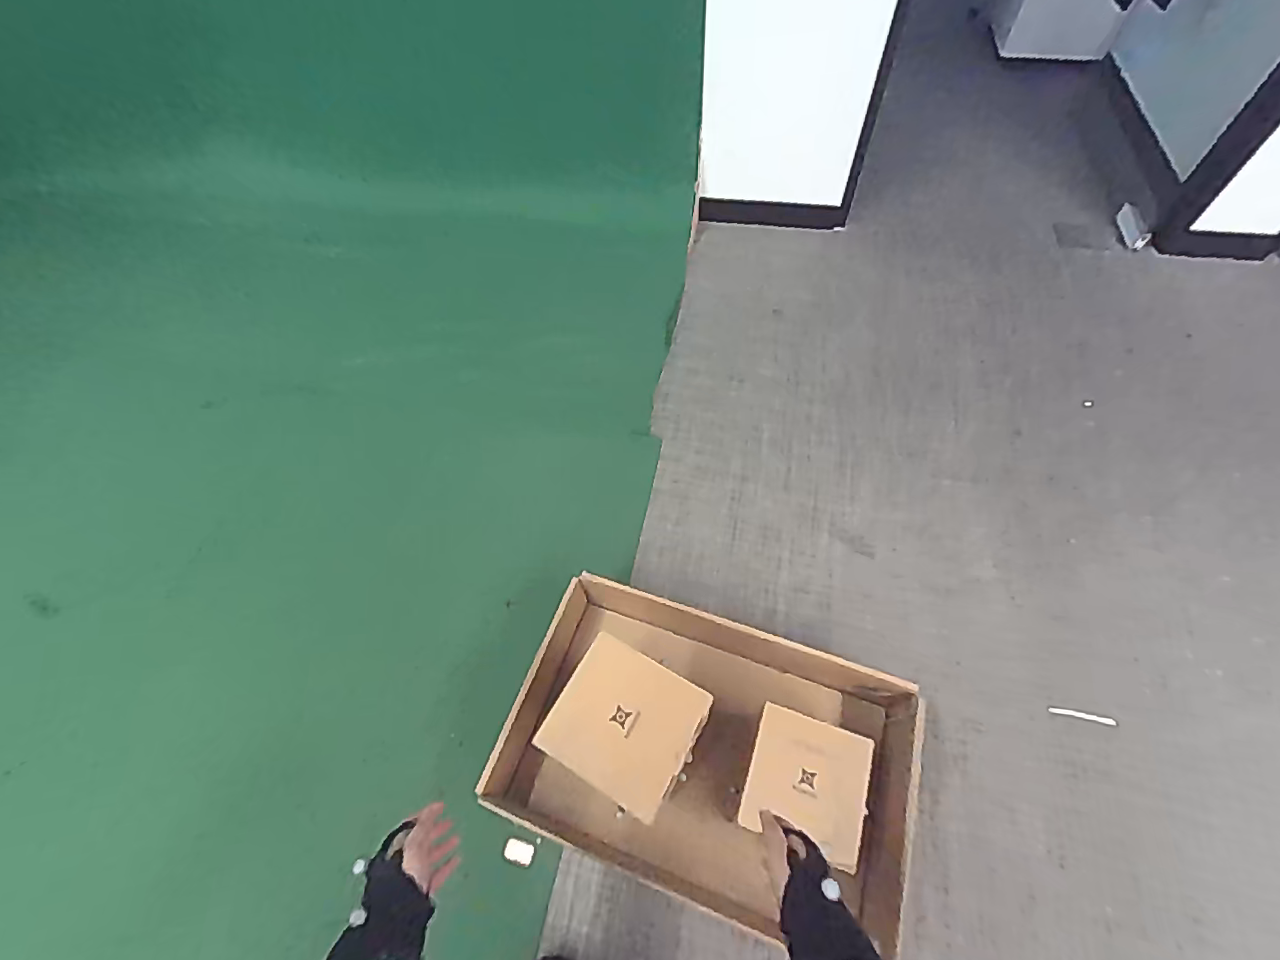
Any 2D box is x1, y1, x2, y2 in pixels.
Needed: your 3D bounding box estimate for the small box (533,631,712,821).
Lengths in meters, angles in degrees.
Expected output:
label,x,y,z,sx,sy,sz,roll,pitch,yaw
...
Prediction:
label,x,y,z,sx,sy,sz,roll,pitch,yaw
small box,-0.019,0.344,0.750,0.179,0.176,0.168,26,63,17
